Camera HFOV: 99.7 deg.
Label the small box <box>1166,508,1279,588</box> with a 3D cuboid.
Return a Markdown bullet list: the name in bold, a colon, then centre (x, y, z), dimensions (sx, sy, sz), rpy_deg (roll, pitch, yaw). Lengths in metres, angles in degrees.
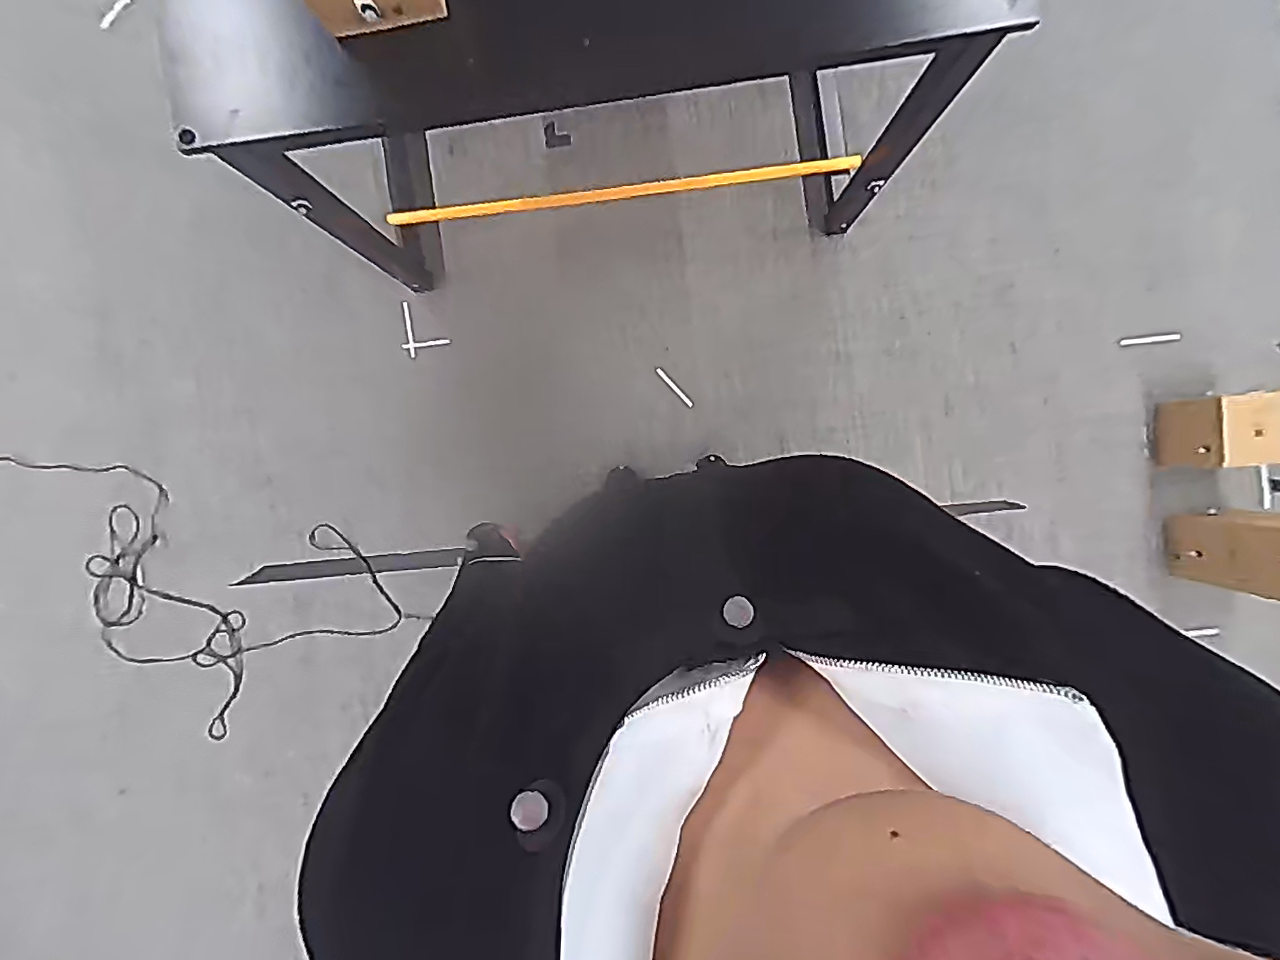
- **small box**: centre (1.505, 0.169, 1.385), dimensions (0.179, 0.176, 0.168), rpy_deg (-9, 92, 3)

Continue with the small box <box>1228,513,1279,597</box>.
- **small box**: centre (1.495, 0.169, 1.219), dimensions (0.168, 0.176, 0.179), rpy_deg (-9, 93, 2)

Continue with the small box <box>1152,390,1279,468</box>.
- **small box**: centre (1.458, -0.126, 1.372), dimensions (0.168, 0.176, 0.179), rpy_deg (-5, 92, 2)

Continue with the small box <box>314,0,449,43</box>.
- **small box**: centre (-0.364, -0.715, 0.684), dimensions (0.168, 0.176, 0.179), rpy_deg (-10, 92, 3)
